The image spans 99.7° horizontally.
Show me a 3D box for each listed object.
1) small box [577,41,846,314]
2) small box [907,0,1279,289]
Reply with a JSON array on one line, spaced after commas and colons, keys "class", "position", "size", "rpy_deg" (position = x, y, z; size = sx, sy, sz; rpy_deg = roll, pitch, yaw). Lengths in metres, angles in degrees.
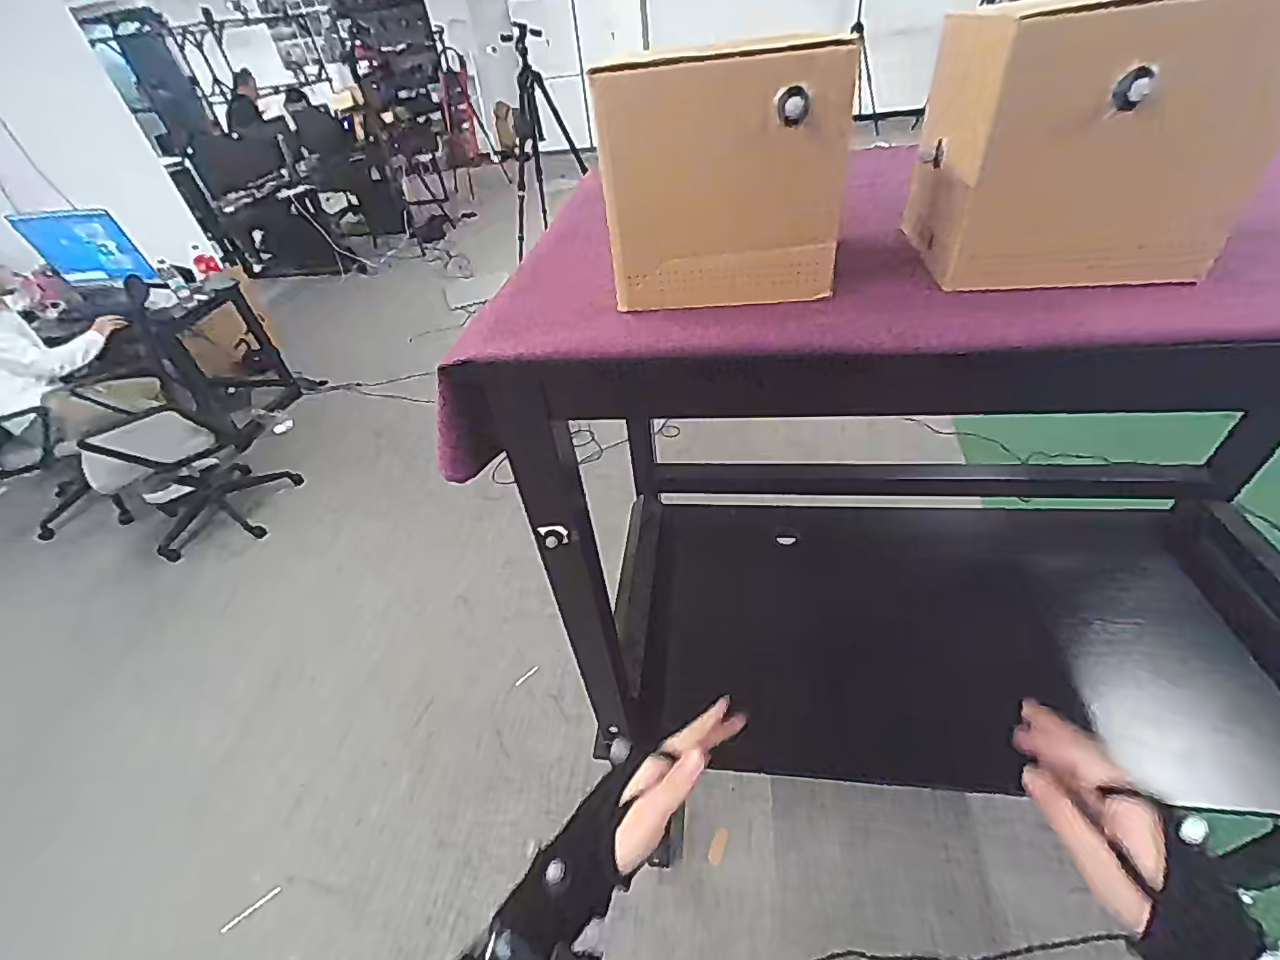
[{"class": "small box", "position": [0.059, -0.250, 0.455], "size": [0.179, 0.176, 0.168], "rpy_deg": [-1, 41, 7]}, {"class": "small box", "position": [0.318, -0.256, 0.412], "size": [0.179, 0.176, 0.168], "rpy_deg": [1, 42, 12]}]
